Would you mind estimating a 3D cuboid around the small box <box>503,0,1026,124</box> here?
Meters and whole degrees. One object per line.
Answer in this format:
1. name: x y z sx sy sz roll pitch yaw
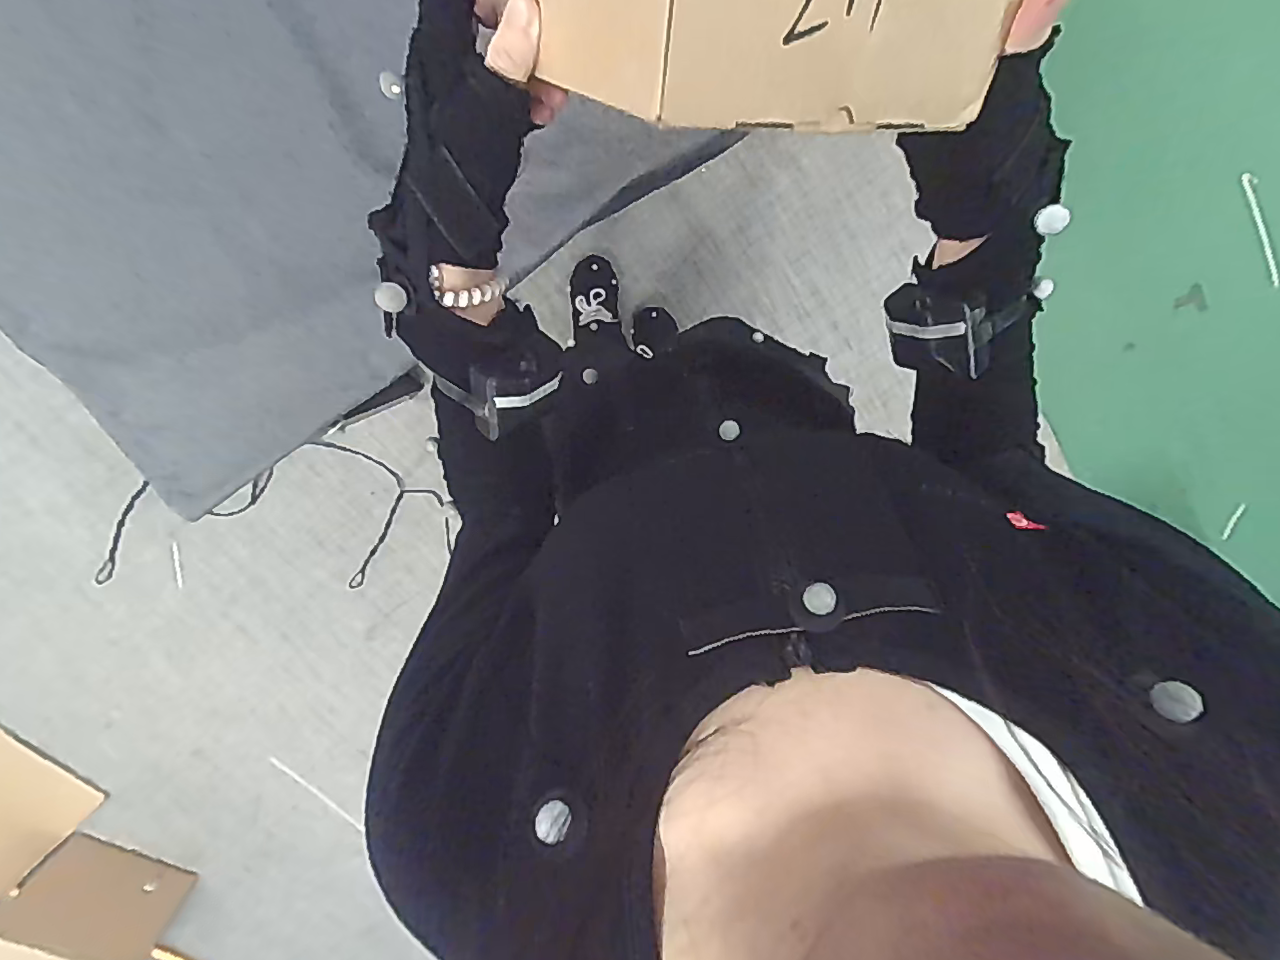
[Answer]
1. small box: 0.047 -0.254 0.205 0.168 0.176 0.179 -16 135 -25
